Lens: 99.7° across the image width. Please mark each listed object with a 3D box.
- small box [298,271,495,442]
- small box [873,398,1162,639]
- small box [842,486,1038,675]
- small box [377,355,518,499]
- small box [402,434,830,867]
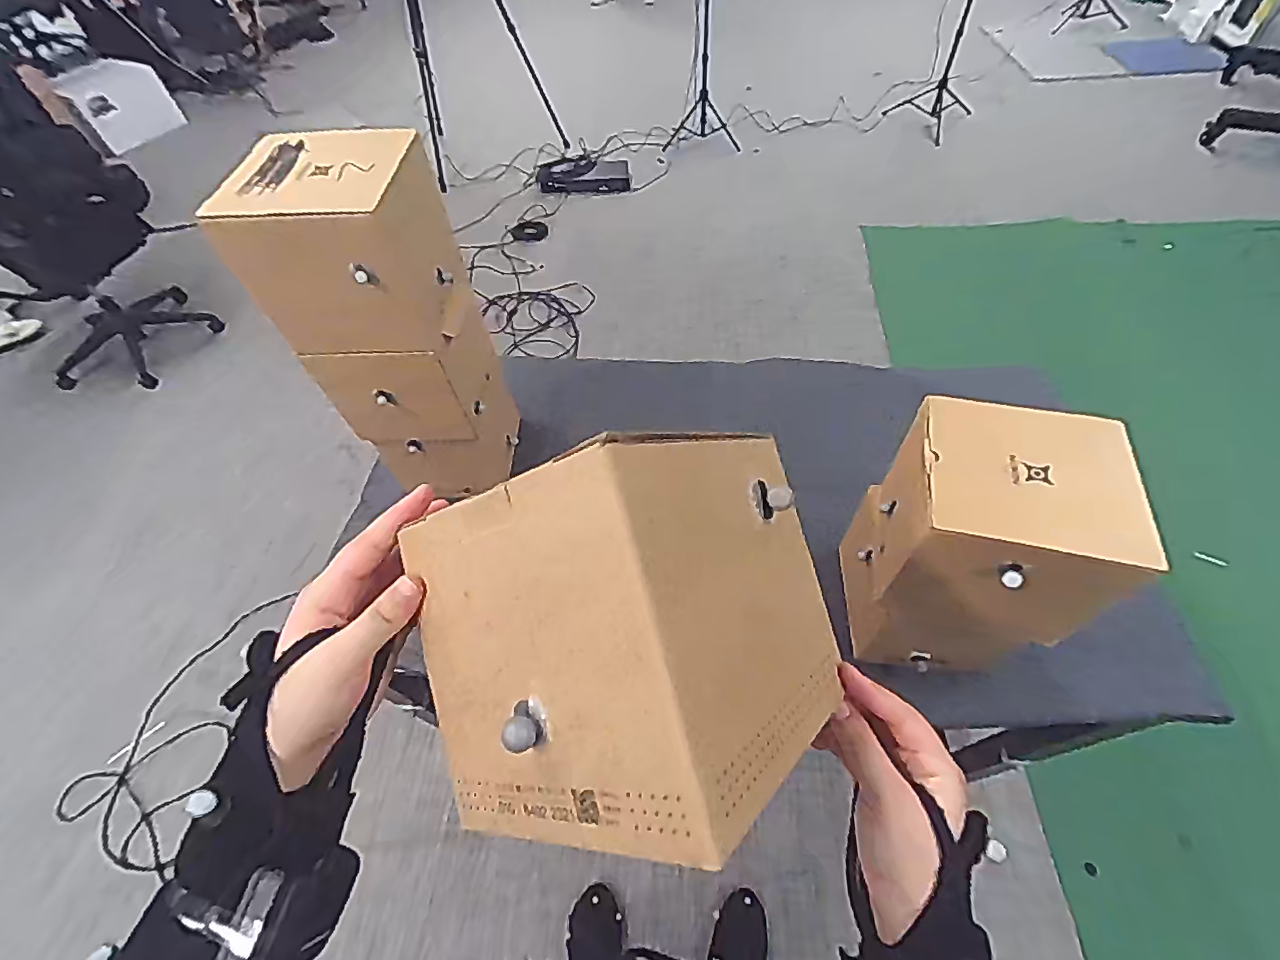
[{"bbox_3d":[-0.317,-0.166,0.750,0.179,0.176,0.168,-1,56,4],"label":"small box"},{"bbox_3d":[0.353,0.044,0.547,0.179,0.176,0.168,10,55,14],"label":"small box"},{"bbox_3d":[0.364,0.128,0.686,0.168,0.176,0.179,2,54,7],"label":"small box"},{"bbox_3d":[-0.307,-0.084,0.894,0.168,0.176,0.179,-1,55,3],"label":"small box"},{"bbox_3d":[-0.006,0.079,0.321,0.168,0.179,0.176,-20,84,37],"label":"small box"}]
